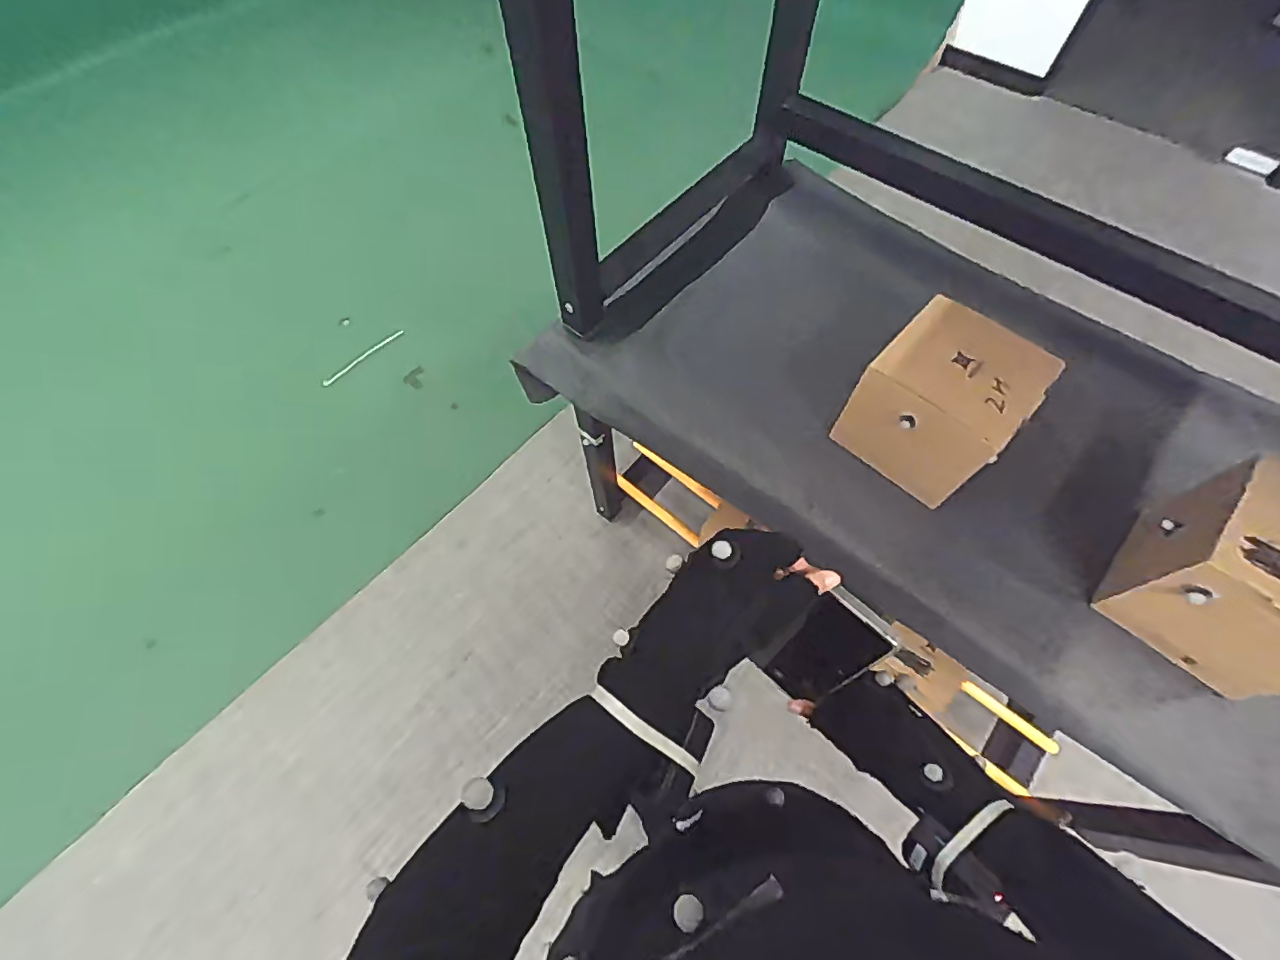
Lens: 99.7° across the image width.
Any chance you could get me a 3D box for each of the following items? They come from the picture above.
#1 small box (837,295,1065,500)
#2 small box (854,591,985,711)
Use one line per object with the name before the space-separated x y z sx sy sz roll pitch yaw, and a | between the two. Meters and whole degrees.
small box | 0.397 -0.103 0.725 0.179 0.176 0.168 40 70 19
small box | 0.592 0.378 1.176 0.168 0.176 0.179 41 71 19
